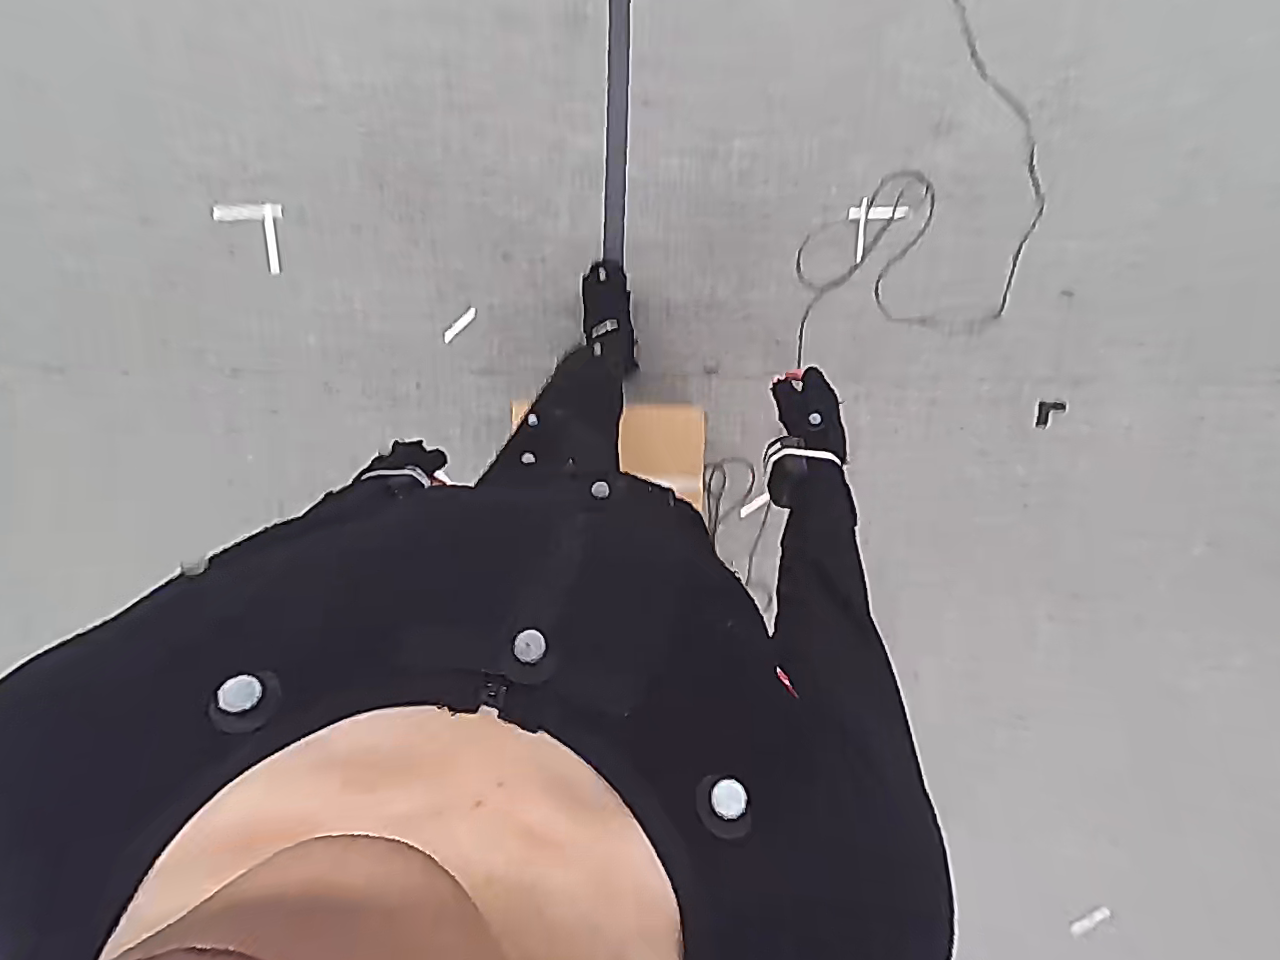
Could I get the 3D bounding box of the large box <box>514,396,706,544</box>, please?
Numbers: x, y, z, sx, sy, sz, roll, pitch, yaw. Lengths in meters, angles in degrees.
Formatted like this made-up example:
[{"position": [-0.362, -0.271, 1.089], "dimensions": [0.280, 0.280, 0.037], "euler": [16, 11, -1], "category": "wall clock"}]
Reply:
[{"position": [-0.064, -0.039, 1.289], "dimensions": [0.408, 0.320, 0.320], "euler": [2, 100, 1], "category": "large box"}]
